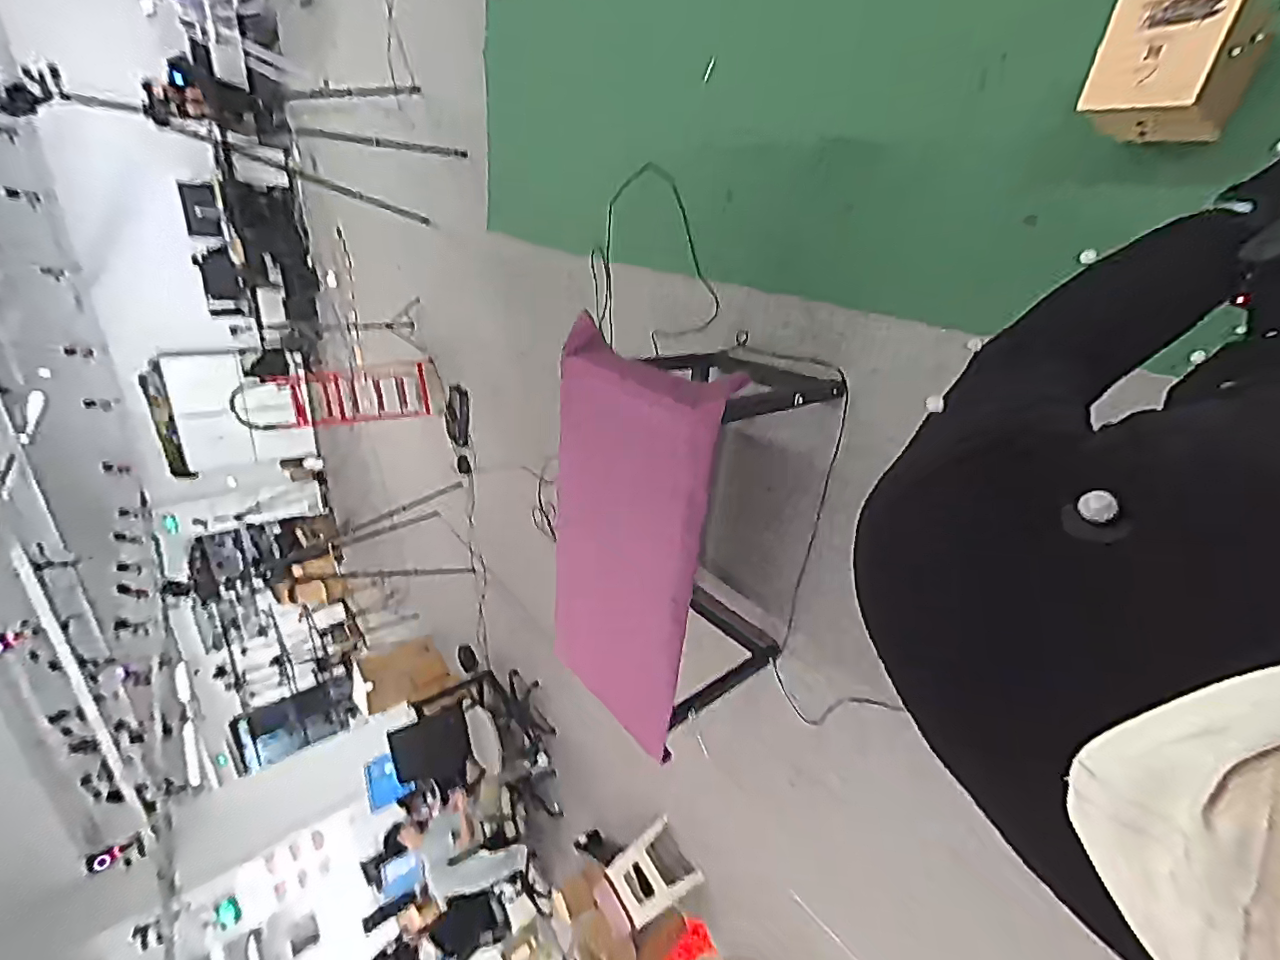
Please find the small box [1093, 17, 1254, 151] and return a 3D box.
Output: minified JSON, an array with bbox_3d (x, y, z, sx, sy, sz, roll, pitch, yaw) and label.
[{"bbox_3d":[1.035,-0.751,1.048,0.168,0.176,0.179,32,124,41],"label":"small box"}]
